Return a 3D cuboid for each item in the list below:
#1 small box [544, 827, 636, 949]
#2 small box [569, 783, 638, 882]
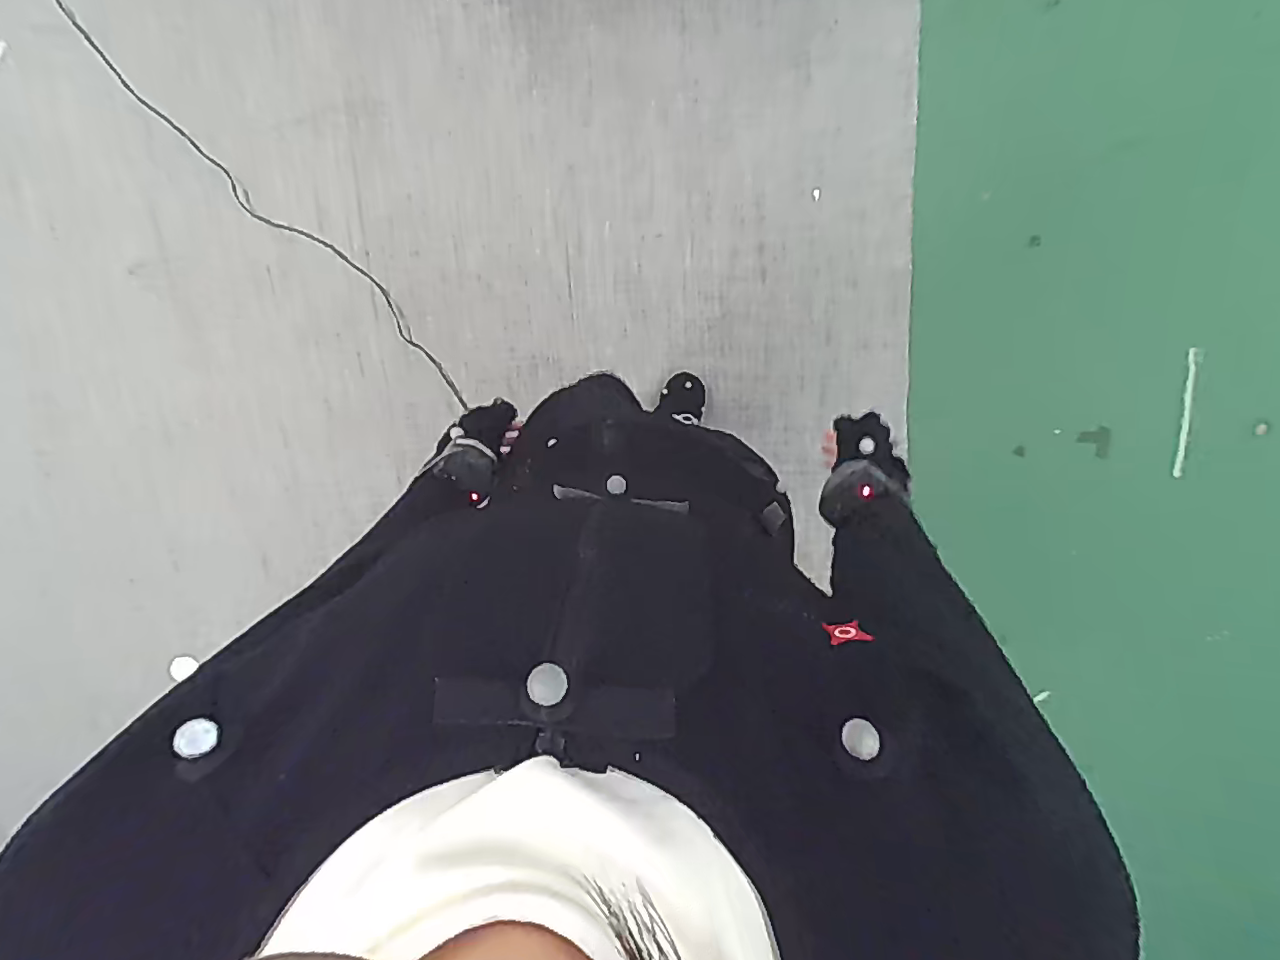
[{"bbox_3d":[-0.114,0.988,1.319,0.179,0.176,0.168,-11,101,6],"label":"small box"},{"bbox_3d":[-0.096,0.968,1.496,0.168,0.176,0.179,-5,101,4],"label":"small box"}]
